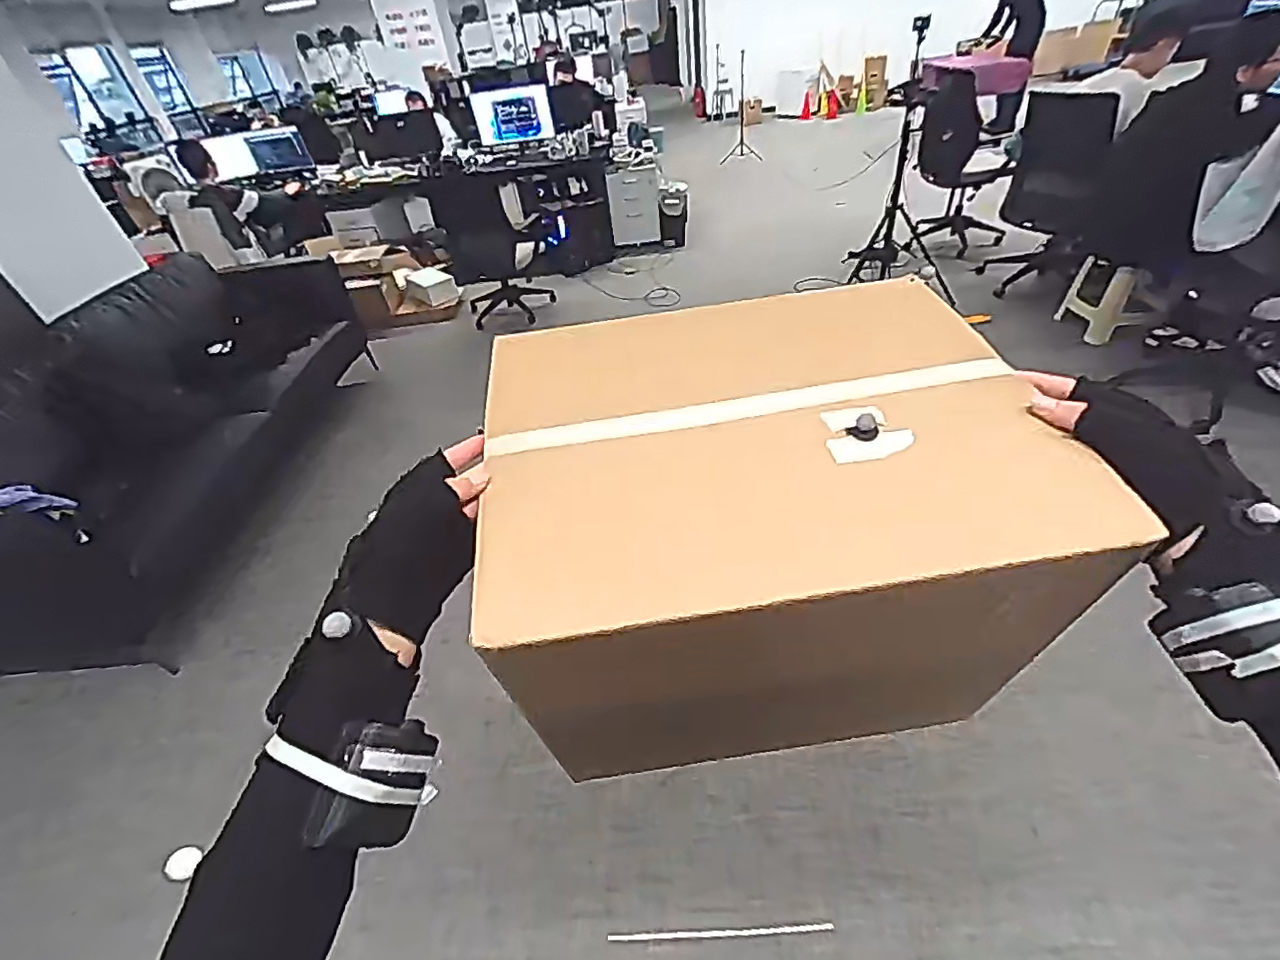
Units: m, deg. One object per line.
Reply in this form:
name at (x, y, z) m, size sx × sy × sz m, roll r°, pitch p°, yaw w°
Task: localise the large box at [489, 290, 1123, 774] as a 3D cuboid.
large box at (0.094, 0.052, 0.533) m, size 0.408 × 0.320 × 0.320 m, roll -8°, pitch 48°, yaw -2°
